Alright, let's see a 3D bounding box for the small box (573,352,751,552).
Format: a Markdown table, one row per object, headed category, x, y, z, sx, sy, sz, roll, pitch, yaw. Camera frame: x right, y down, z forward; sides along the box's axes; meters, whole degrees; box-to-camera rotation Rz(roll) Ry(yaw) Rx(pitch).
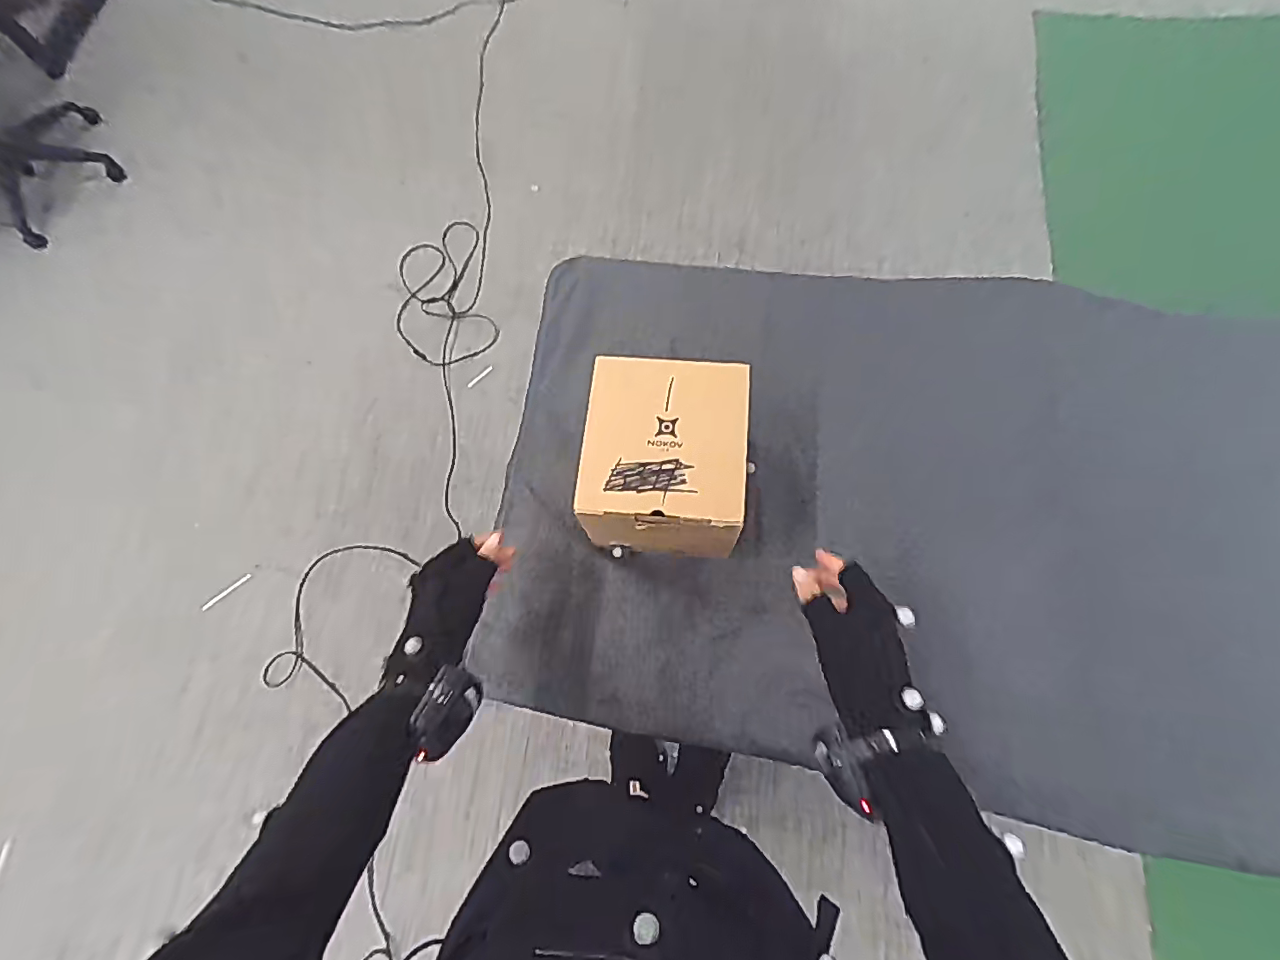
| category | x | y | z | sx | sy | sz | roll | pitch | yaw |
| --- | --- | --- | --- | --- | --- | --- | --- | --- | --- |
| small box | 0.030 | -0.022 | 0.612 | 0.168 | 0.176 | 0.179 | 4 | 70 | 5 |
